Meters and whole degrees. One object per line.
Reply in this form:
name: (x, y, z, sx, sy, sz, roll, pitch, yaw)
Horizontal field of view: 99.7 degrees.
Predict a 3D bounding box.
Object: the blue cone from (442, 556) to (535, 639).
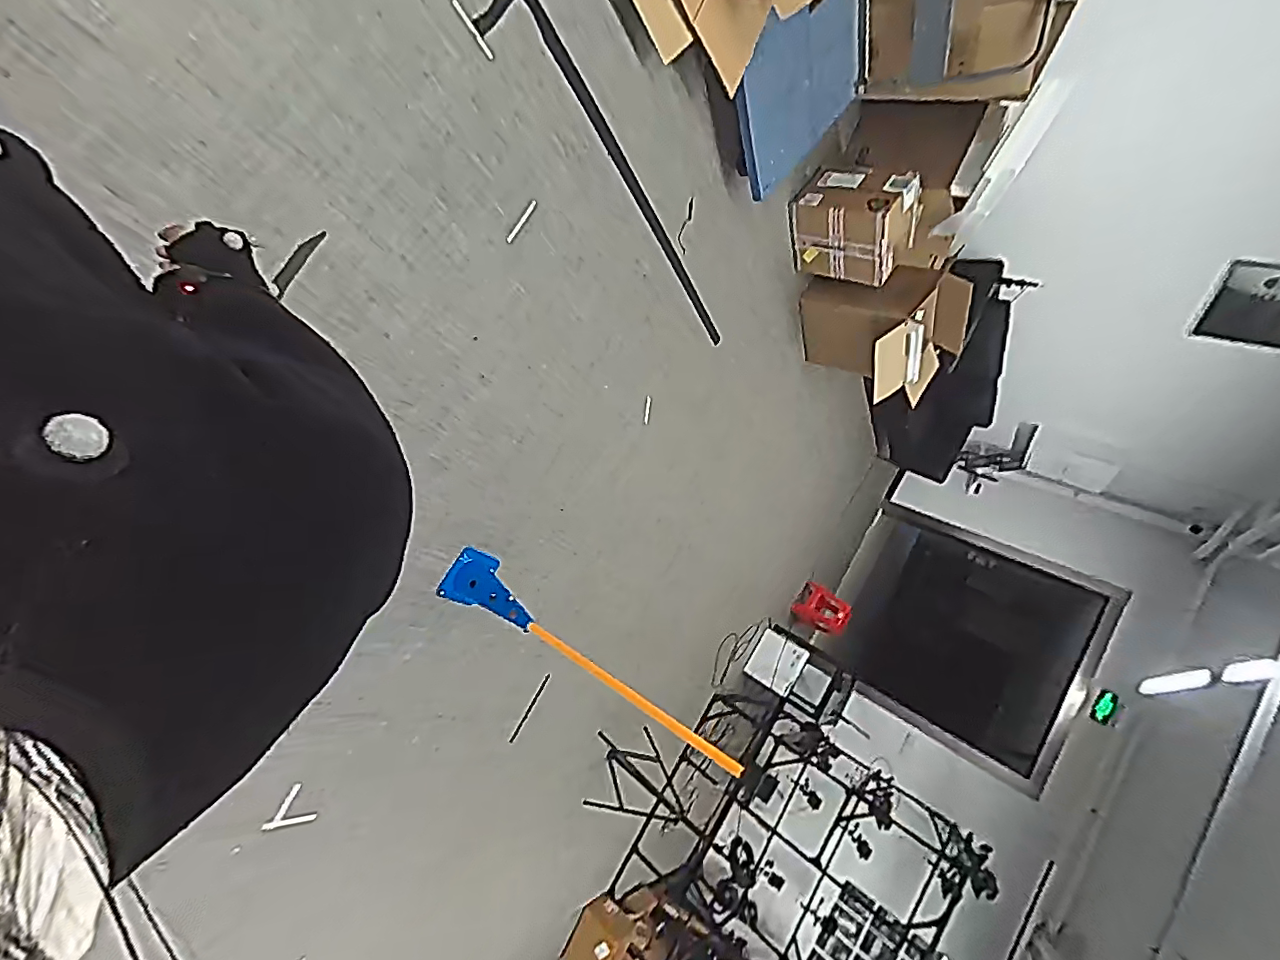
blue cone: (-0.492, 0.432, 1.883, 0.192, 0.380, 0.193, -57, 145, -10)
